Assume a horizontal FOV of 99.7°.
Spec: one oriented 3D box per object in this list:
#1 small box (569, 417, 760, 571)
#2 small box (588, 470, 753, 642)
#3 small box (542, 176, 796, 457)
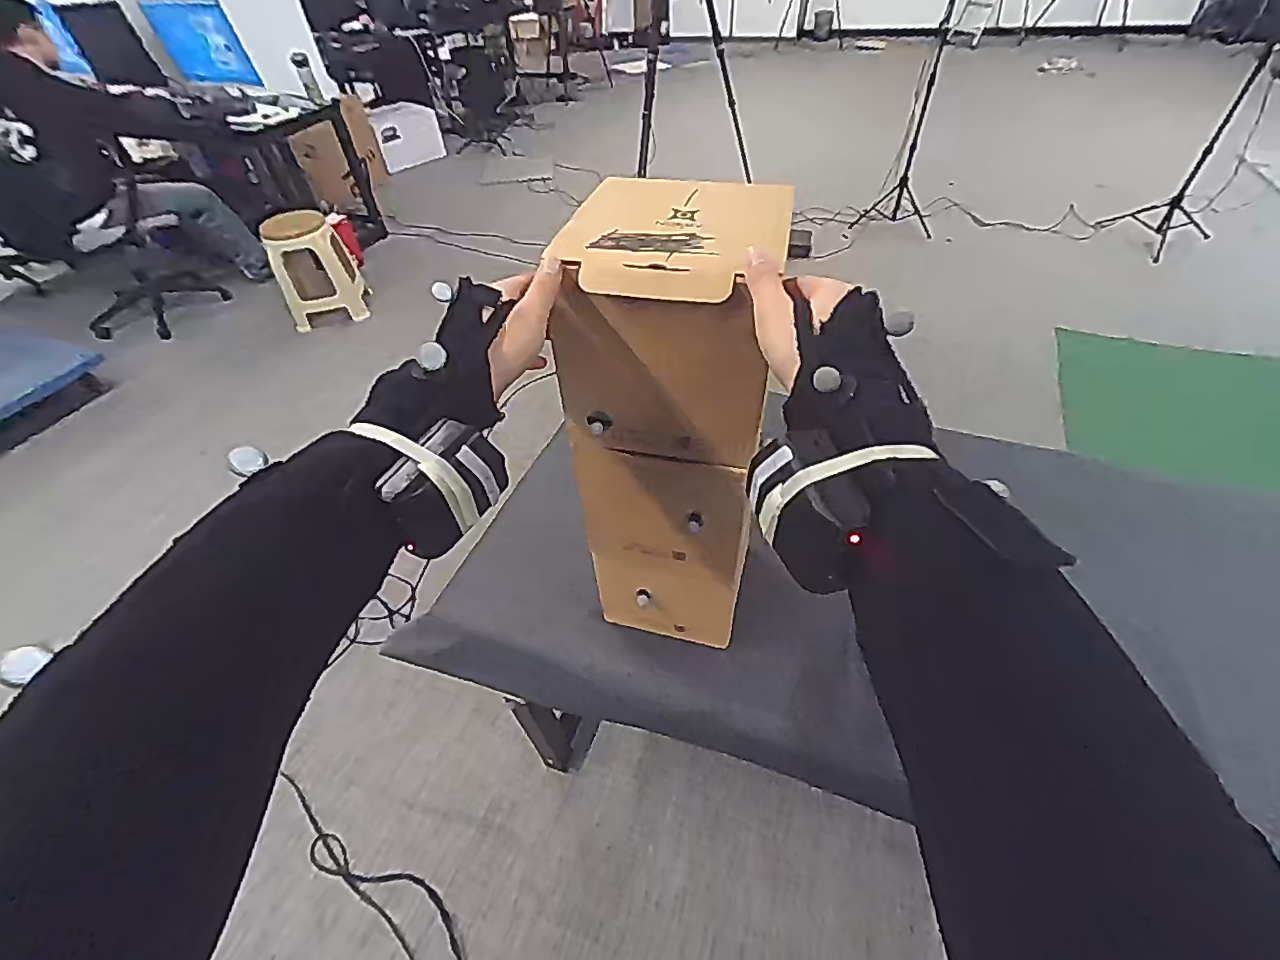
[{"bbox_3d":[0.038,-0.027,0.585,0.168,0.176,0.179,10,46,11],"label":"small box"},{"bbox_3d":[0.046,0.084,0.703,0.168,0.176,0.179,10,47,13],"label":"small box"},{"bbox_3d":[0.033,-0.141,0.467,0.168,0.176,0.179,9,47,10],"label":"small box"}]
